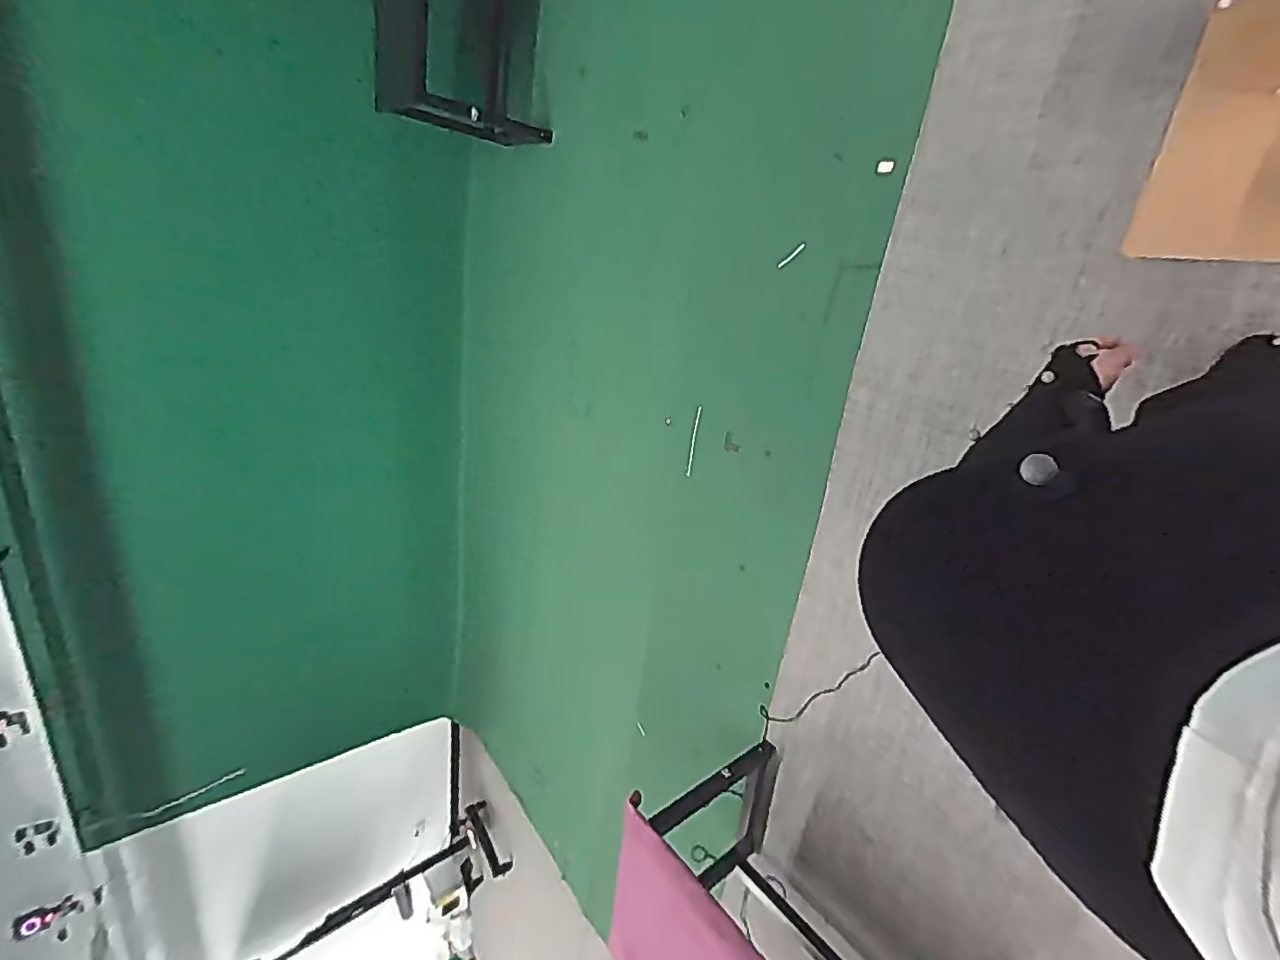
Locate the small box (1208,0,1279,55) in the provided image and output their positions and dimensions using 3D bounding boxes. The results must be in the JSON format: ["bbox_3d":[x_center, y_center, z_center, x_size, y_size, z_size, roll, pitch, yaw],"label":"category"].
[{"bbox_3d":[1.045,-0.787,0.833,0.179,0.176,0.168,37,123,41],"label":"small box"}]
